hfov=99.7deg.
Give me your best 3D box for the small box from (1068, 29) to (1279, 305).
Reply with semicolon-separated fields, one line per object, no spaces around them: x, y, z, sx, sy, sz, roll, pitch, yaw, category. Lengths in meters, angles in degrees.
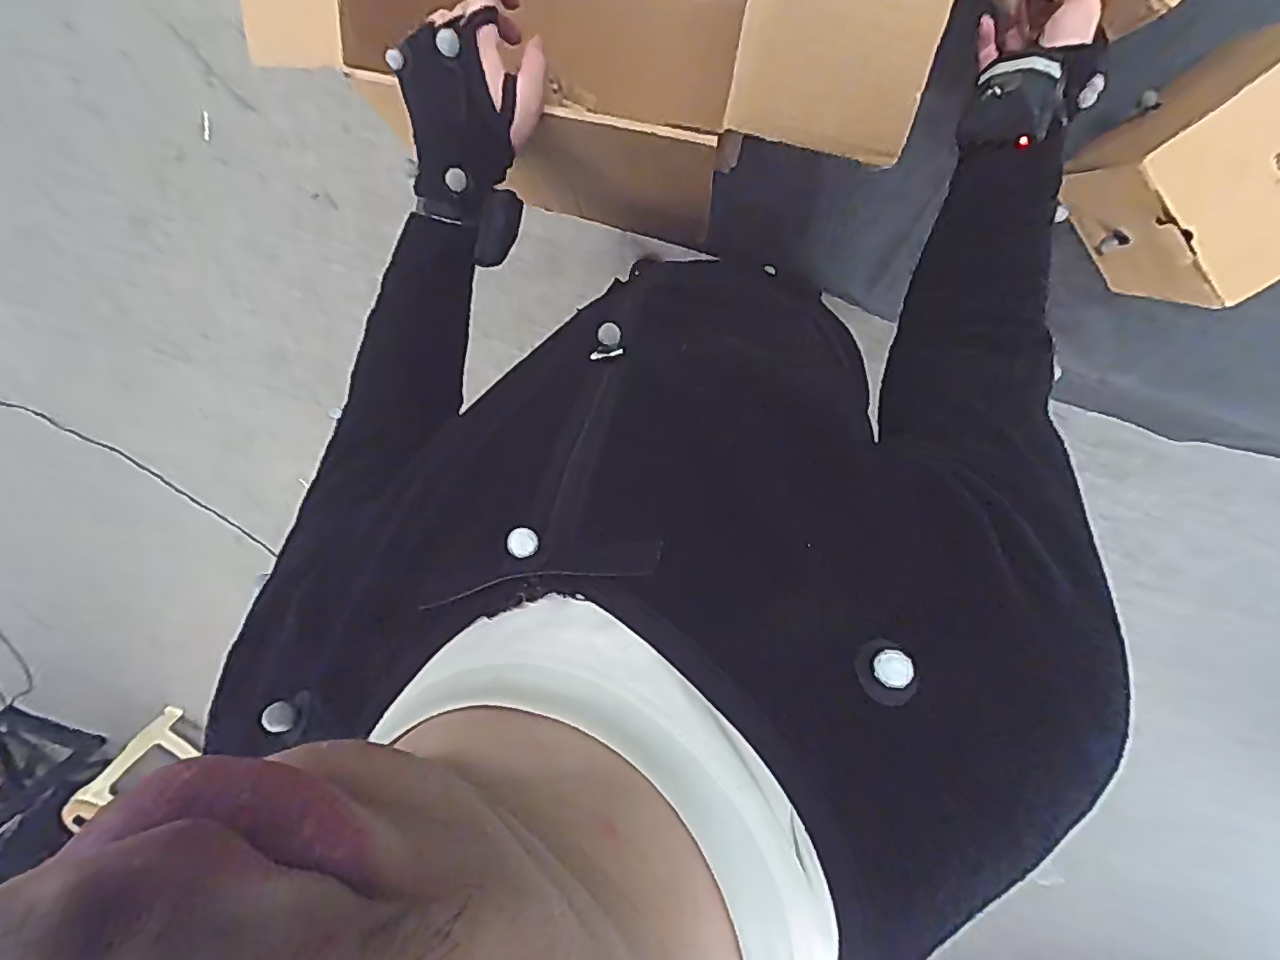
0.568;-0.300;0.528;0.179;0.176;0.168;-35;104;25;small box
